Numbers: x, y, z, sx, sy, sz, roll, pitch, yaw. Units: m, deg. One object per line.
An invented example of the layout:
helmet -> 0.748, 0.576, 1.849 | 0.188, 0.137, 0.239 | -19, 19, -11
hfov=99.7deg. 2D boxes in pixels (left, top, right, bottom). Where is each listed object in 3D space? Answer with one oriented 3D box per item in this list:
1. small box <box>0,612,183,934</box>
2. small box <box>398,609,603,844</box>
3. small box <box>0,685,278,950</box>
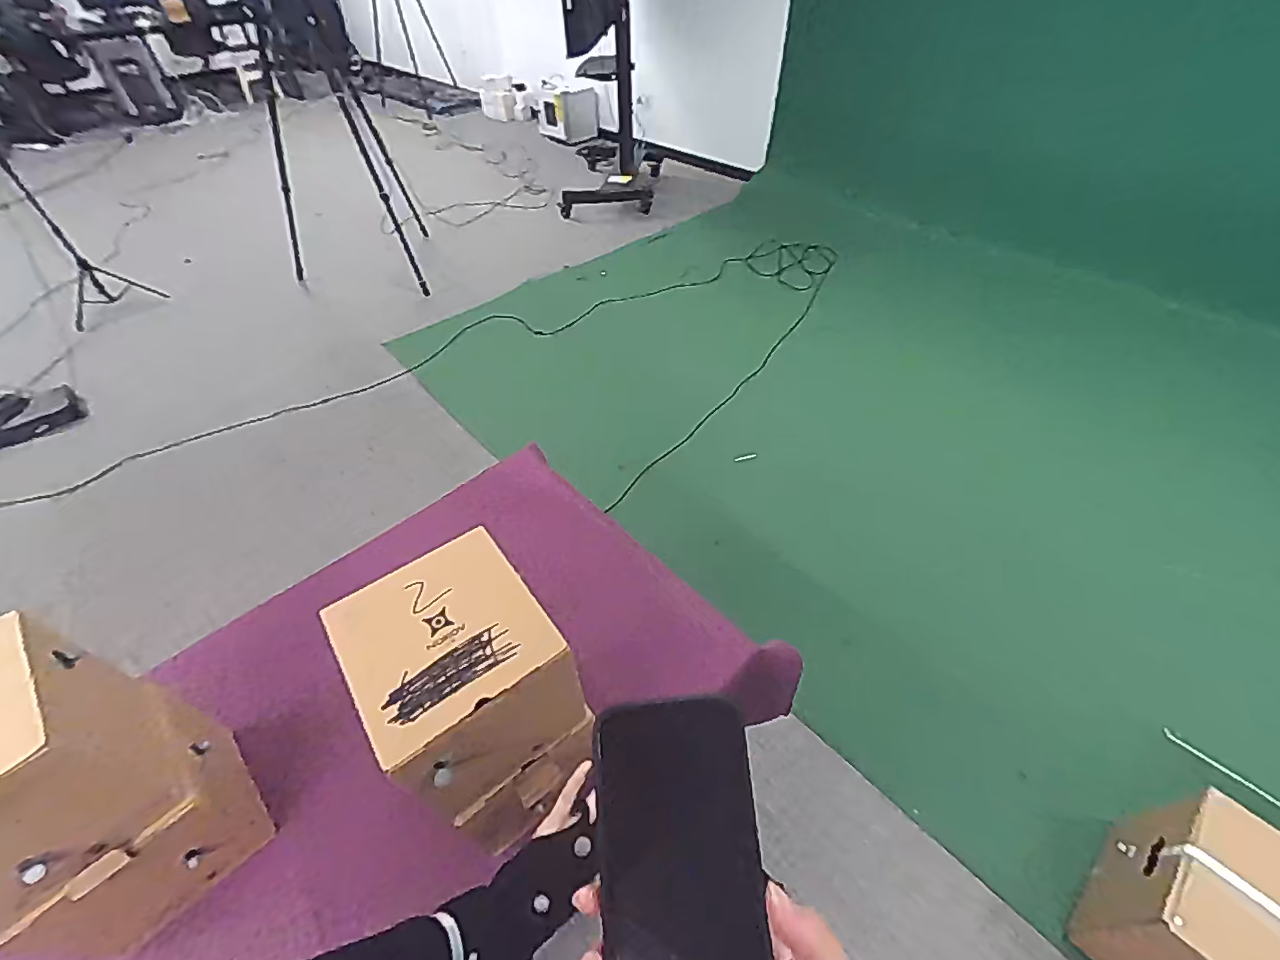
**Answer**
small box -> -0.571, 0.263, 0.488 | 0.168, 0.176, 0.179 | -36, 55, -28
small box -> -0.162, 0.302, 0.663 | 0.168, 0.176, 0.179 | -31, 54, -24
small box -> -0.553, 0.376, 0.608 | 0.168, 0.176, 0.179 | -36, 55, -28
